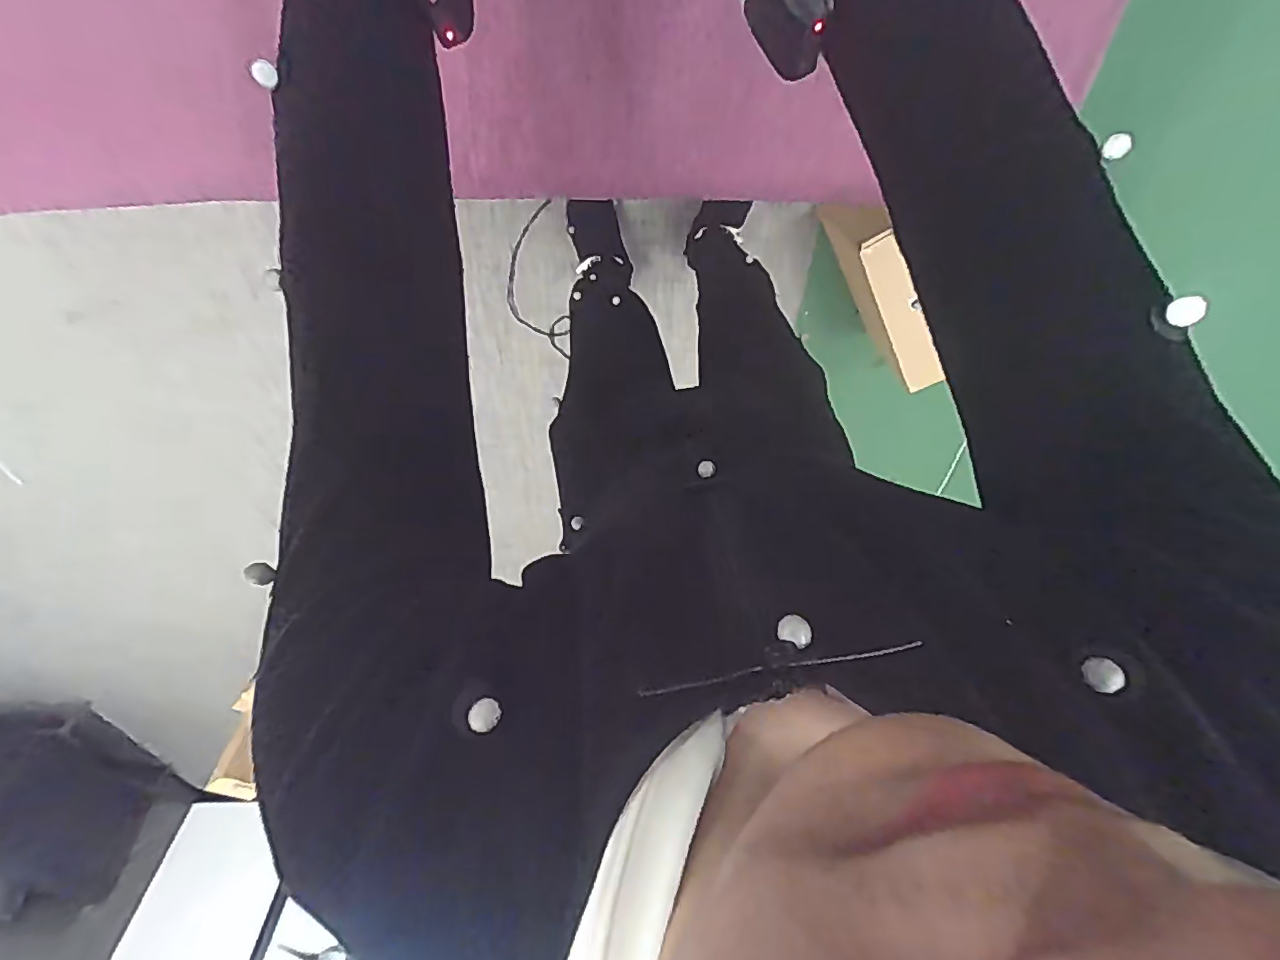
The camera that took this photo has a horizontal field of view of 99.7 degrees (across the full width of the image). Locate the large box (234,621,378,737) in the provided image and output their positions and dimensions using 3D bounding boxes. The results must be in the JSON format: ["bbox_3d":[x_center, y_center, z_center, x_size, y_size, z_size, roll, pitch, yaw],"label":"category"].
[{"bbox_3d":[-1.465,0.882,2.396,0.408,0.320,0.320,35,123,-29],"label":"large box"}]

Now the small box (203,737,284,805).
[{"bbox_3d":[-1.484,1.093,2.036,0.179,0.176,0.168,-36,123,27],"label":"small box"}]
